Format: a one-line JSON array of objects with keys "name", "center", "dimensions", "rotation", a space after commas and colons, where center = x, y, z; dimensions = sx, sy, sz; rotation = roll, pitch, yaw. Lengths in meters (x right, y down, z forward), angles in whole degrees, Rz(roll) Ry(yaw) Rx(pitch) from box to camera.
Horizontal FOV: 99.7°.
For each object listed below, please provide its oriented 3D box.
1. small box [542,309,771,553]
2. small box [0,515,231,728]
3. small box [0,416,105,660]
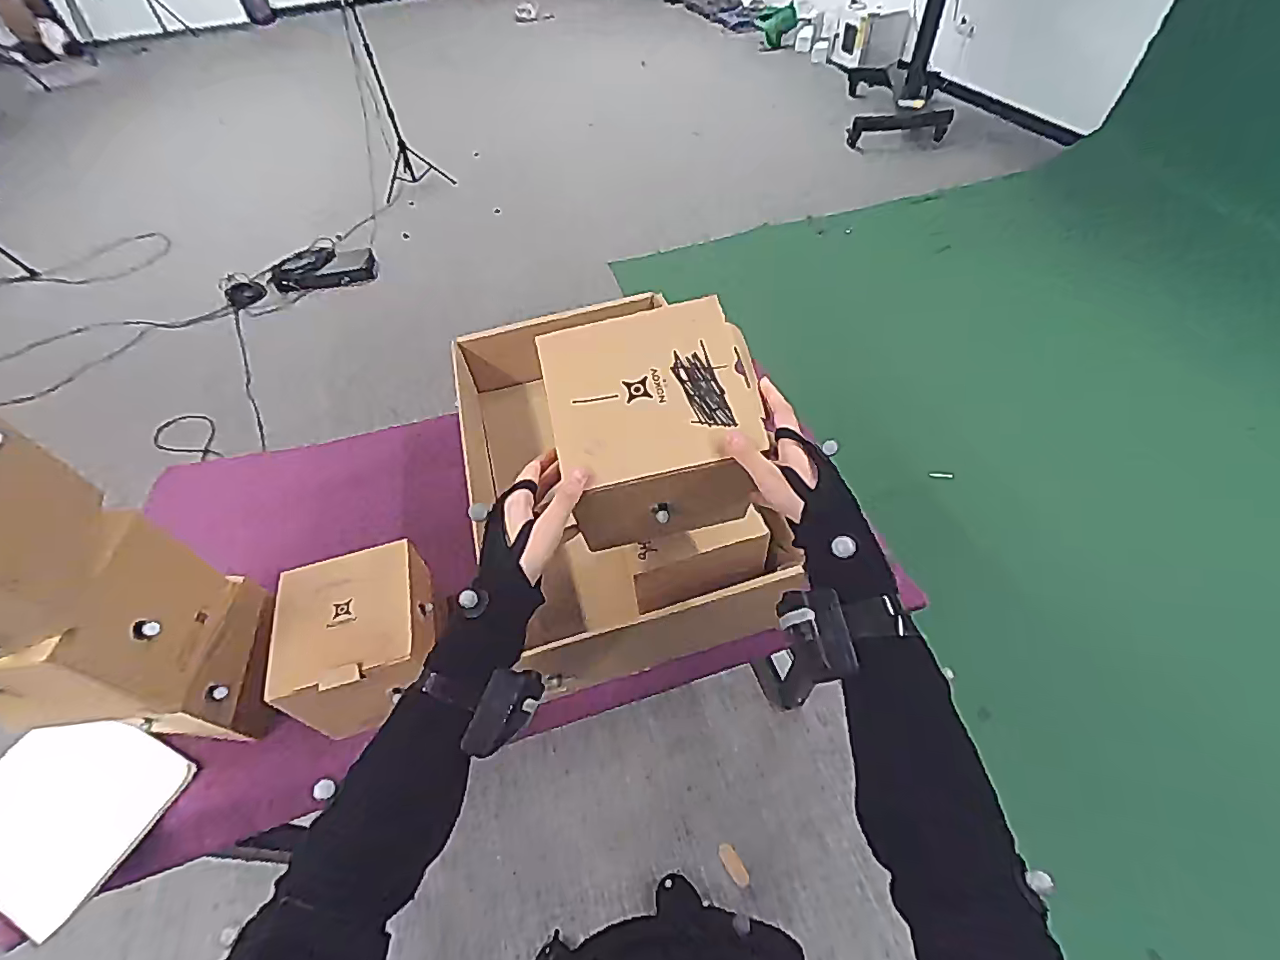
[{"name": "small box", "center": [0.012, -0.040, 0.546], "dimensions": [0.179, 0.176, 0.168], "rotation": [-12, 65, -3]}, {"name": "small box", "center": [-0.602, 0.157, 0.587], "dimensions": [0.179, 0.176, 0.168], "rotation": [-6, 51, 0]}, {"name": "small box", "center": [-0.617, 0.054, 0.459], "dimensions": [0.168, 0.176, 0.179], "rotation": [-24, 54, -13]}]
